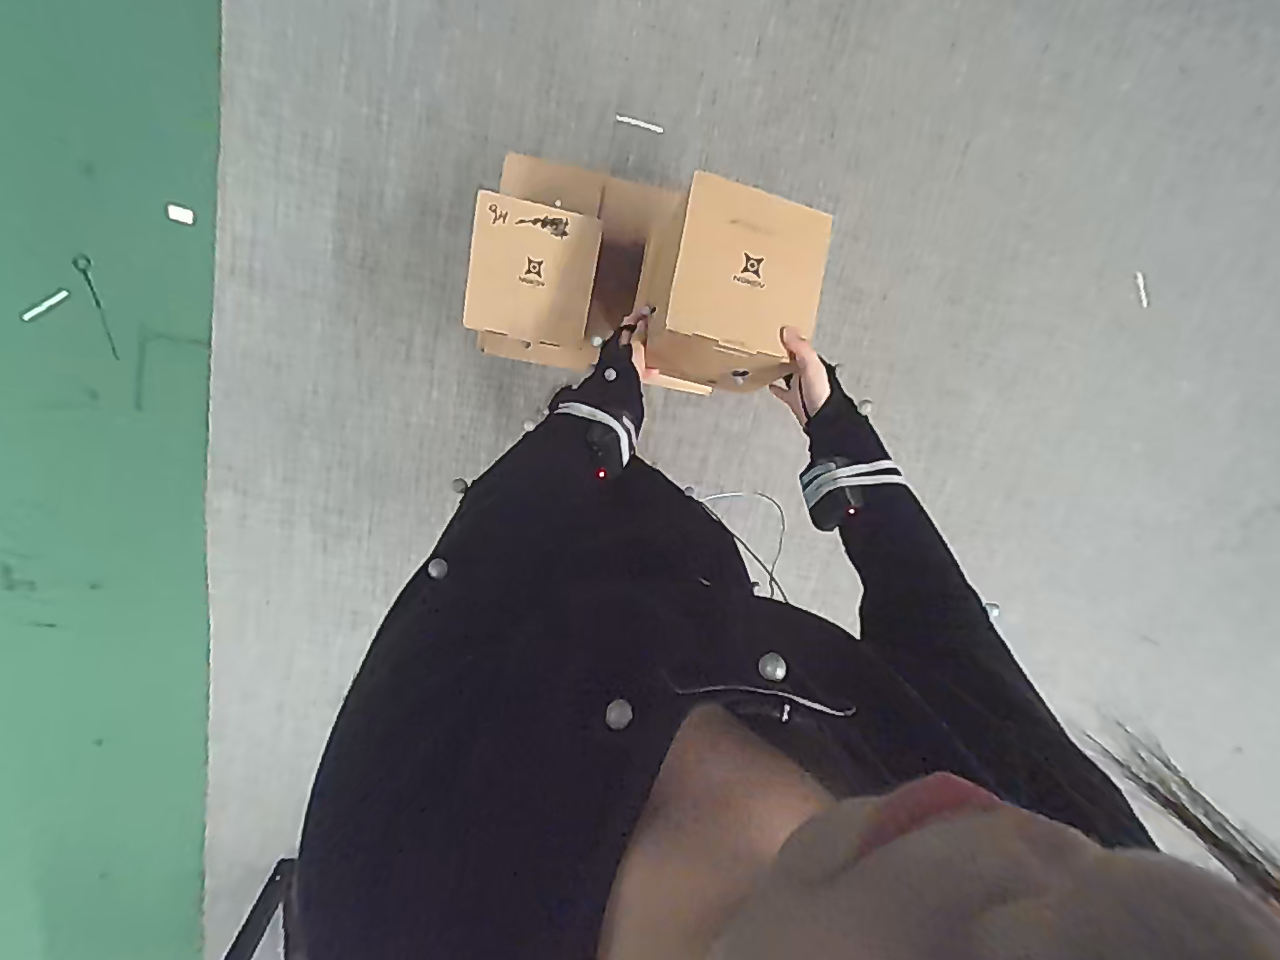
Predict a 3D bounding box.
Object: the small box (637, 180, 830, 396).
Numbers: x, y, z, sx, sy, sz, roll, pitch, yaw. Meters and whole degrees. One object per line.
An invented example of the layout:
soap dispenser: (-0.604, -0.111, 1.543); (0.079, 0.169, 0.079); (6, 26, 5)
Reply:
small box: (0.100, -0.212, 0.653); (0.168, 0.176, 0.179); (12, 85, -11)

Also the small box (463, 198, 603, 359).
small box: (-0.153, -0.289, 0.801); (0.168, 0.176, 0.179); (10, 106, -10)

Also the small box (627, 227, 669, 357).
small box: (0.076, -0.265, 0.831); (0.168, 0.176, 0.179); (10, 104, -7)
